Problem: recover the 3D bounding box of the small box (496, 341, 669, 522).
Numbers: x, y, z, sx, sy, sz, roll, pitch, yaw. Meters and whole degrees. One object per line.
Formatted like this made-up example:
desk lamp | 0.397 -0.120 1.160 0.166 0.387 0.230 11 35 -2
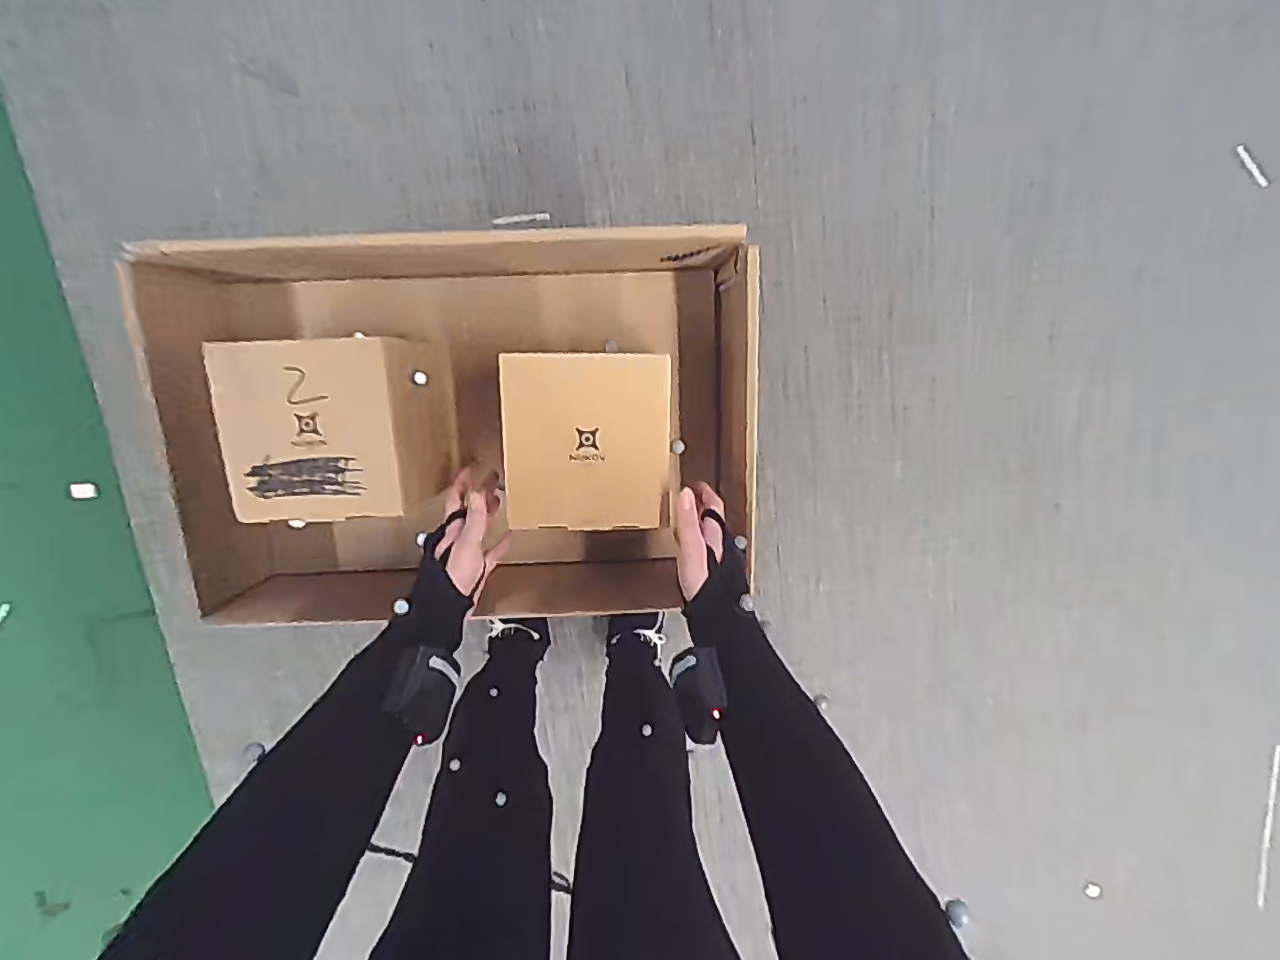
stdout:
small box | -0.057 -0.060 0.600 0.168 0.176 0.179 -1 102 -1
